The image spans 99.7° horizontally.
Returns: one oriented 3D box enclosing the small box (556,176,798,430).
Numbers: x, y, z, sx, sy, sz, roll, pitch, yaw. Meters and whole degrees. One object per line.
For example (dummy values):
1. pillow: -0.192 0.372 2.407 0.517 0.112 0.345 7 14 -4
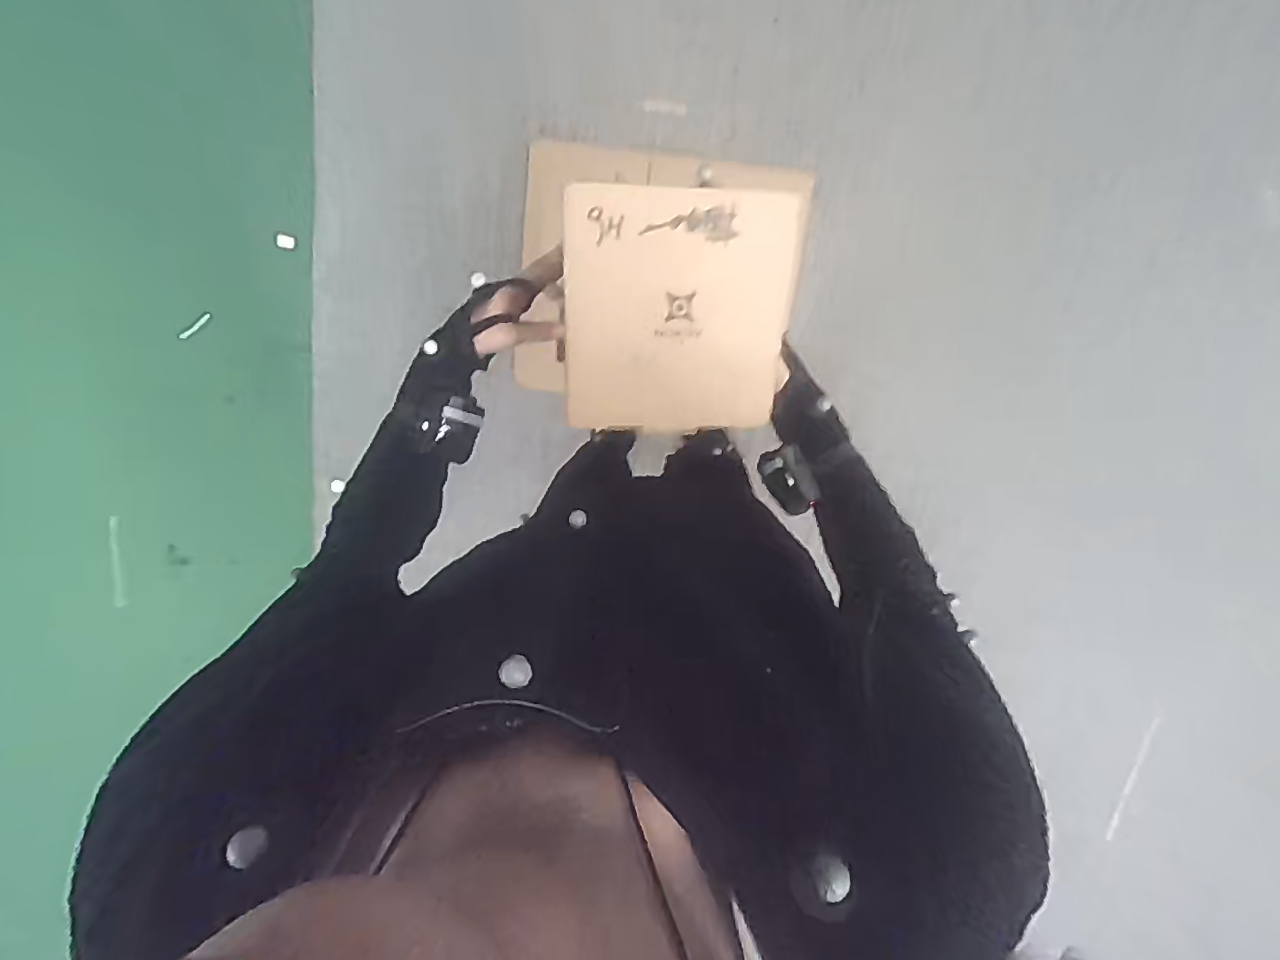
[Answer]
1. small box: 0.013 -0.155 0.464 0.168 0.176 0.179 -1 117 -8
